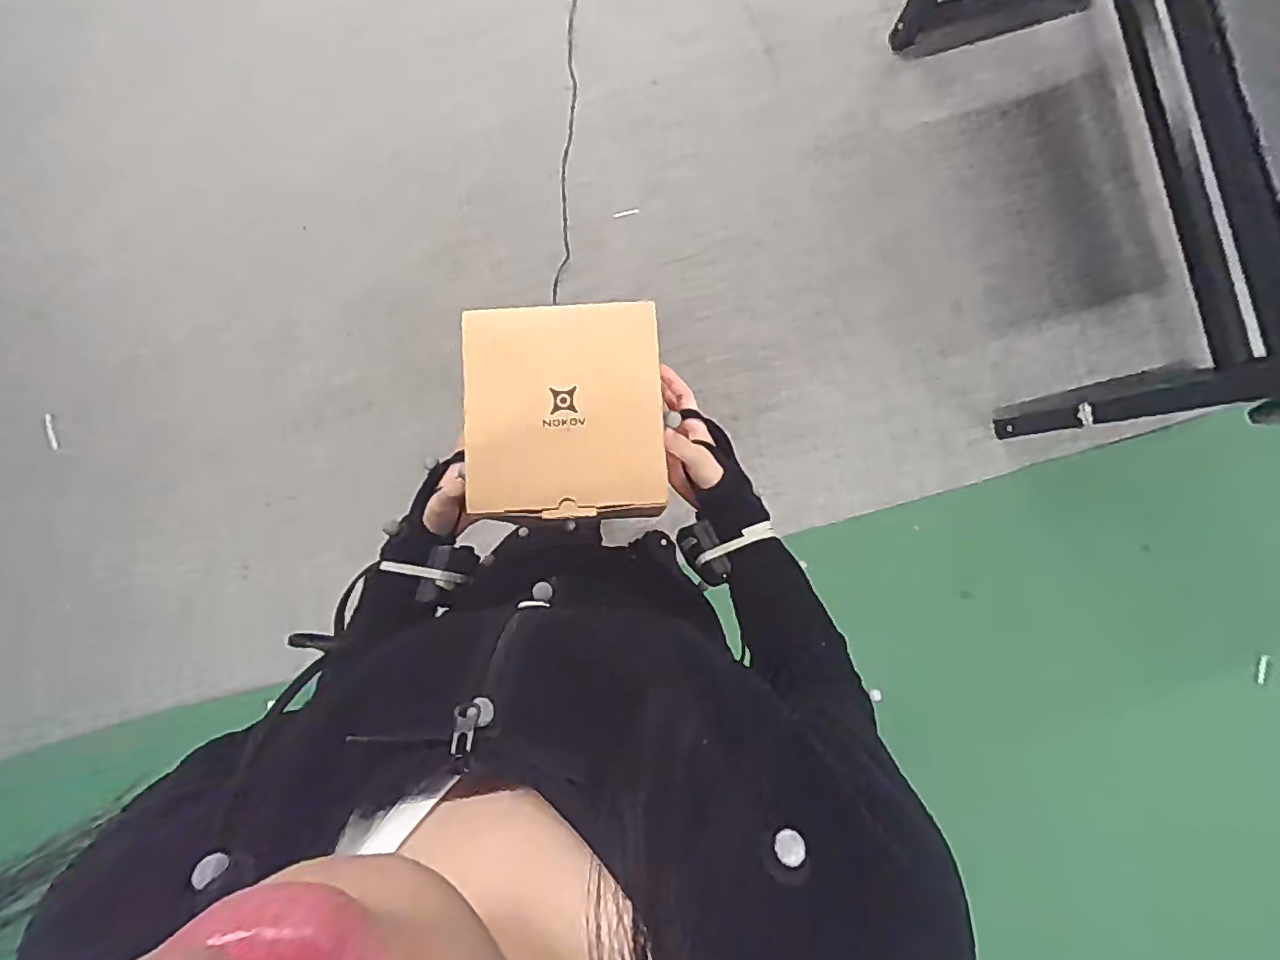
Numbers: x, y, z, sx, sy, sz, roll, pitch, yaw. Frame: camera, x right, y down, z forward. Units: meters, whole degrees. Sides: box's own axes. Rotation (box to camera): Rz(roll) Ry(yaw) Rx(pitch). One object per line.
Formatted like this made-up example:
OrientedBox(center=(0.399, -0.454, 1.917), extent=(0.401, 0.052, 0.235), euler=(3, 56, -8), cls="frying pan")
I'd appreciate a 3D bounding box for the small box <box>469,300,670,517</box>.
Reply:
OrientedBox(center=(-0.063, -0.057, 0.533), extent=(0.168, 0.176, 0.179), euler=(-4, 85, -2), cls="small box")
